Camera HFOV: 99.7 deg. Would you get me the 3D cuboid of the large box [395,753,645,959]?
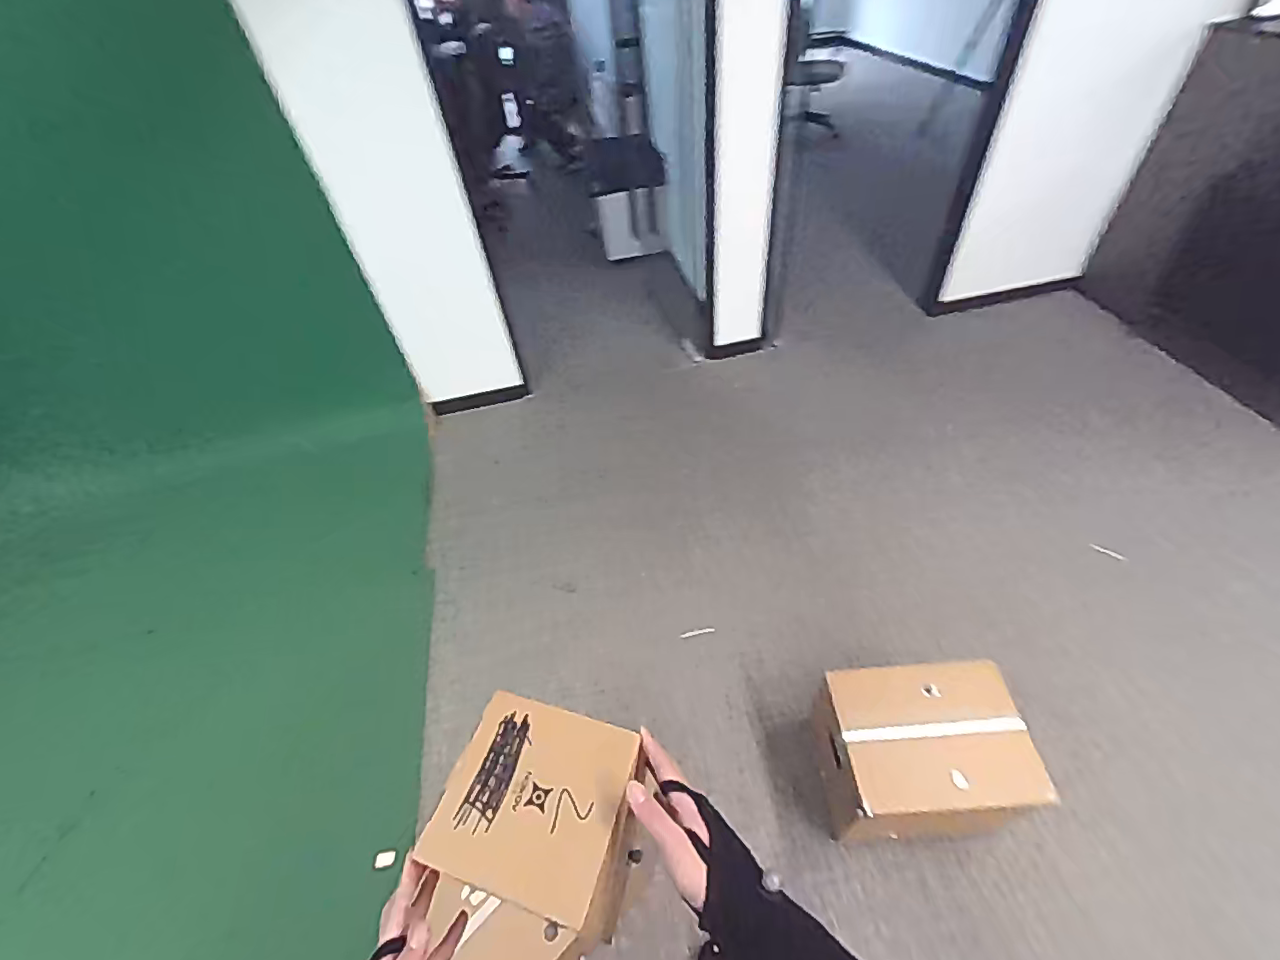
[{"bbox_3d":[-0.240,0.918,1.211,0.408,0.320,0.320,-39,54,-25],"label":"large box"}]
